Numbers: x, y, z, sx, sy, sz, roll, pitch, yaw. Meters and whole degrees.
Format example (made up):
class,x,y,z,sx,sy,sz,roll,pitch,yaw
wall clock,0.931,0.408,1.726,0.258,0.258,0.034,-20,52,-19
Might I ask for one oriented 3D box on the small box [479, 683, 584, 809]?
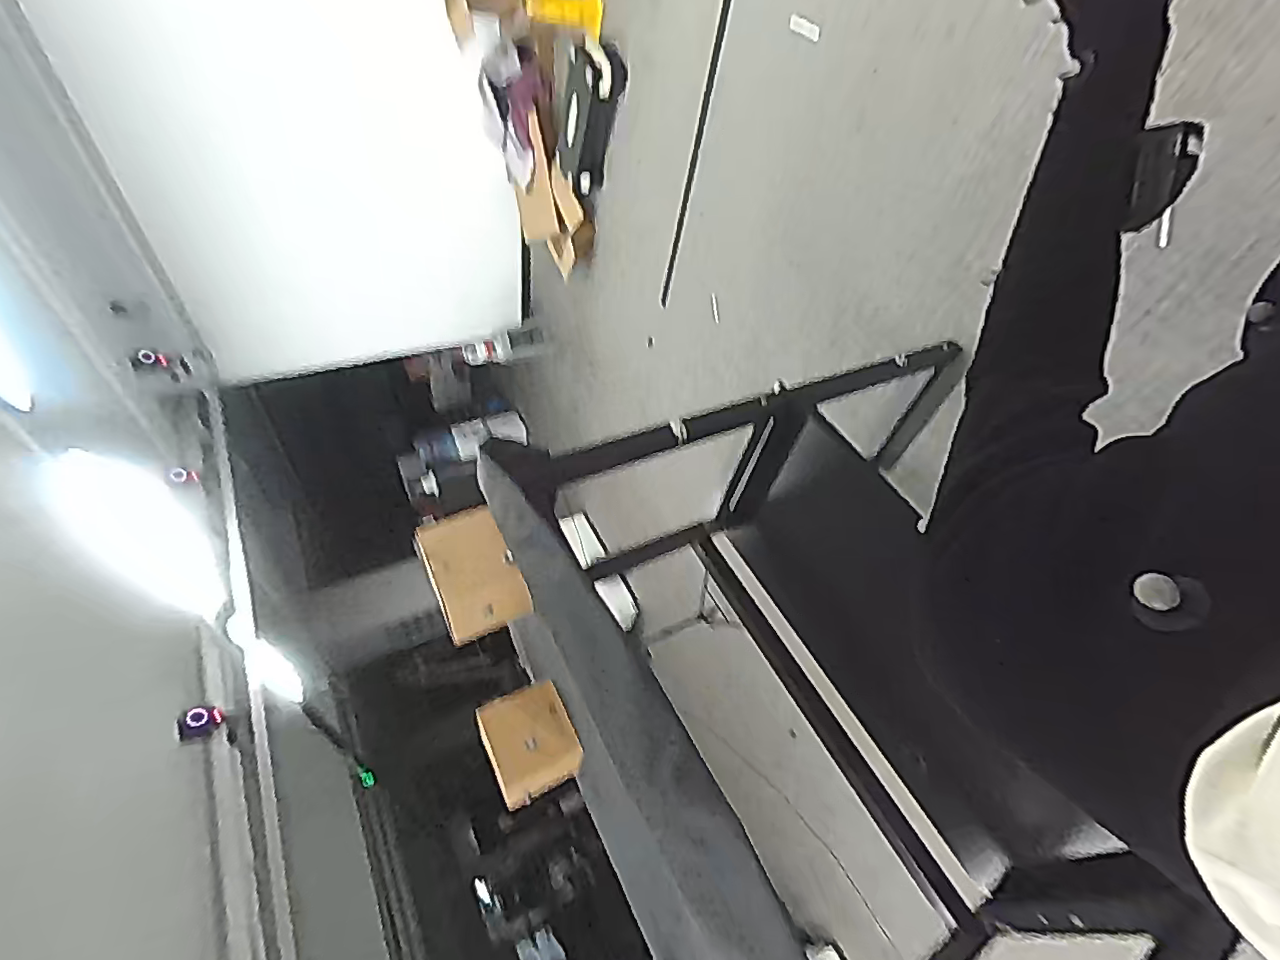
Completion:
class,x,y,z,sx,sy,sz,roll,pitch,yaw
small box,-0.232,0.570,1.167,0.168,0.176,0.179,55,151,31

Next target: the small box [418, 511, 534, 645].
class,x,y,z,sx,sy,sz,roll,pitch,yaw
small box,-0.318,0.189,1.072,0.168,0.176,0.179,54,151,32
